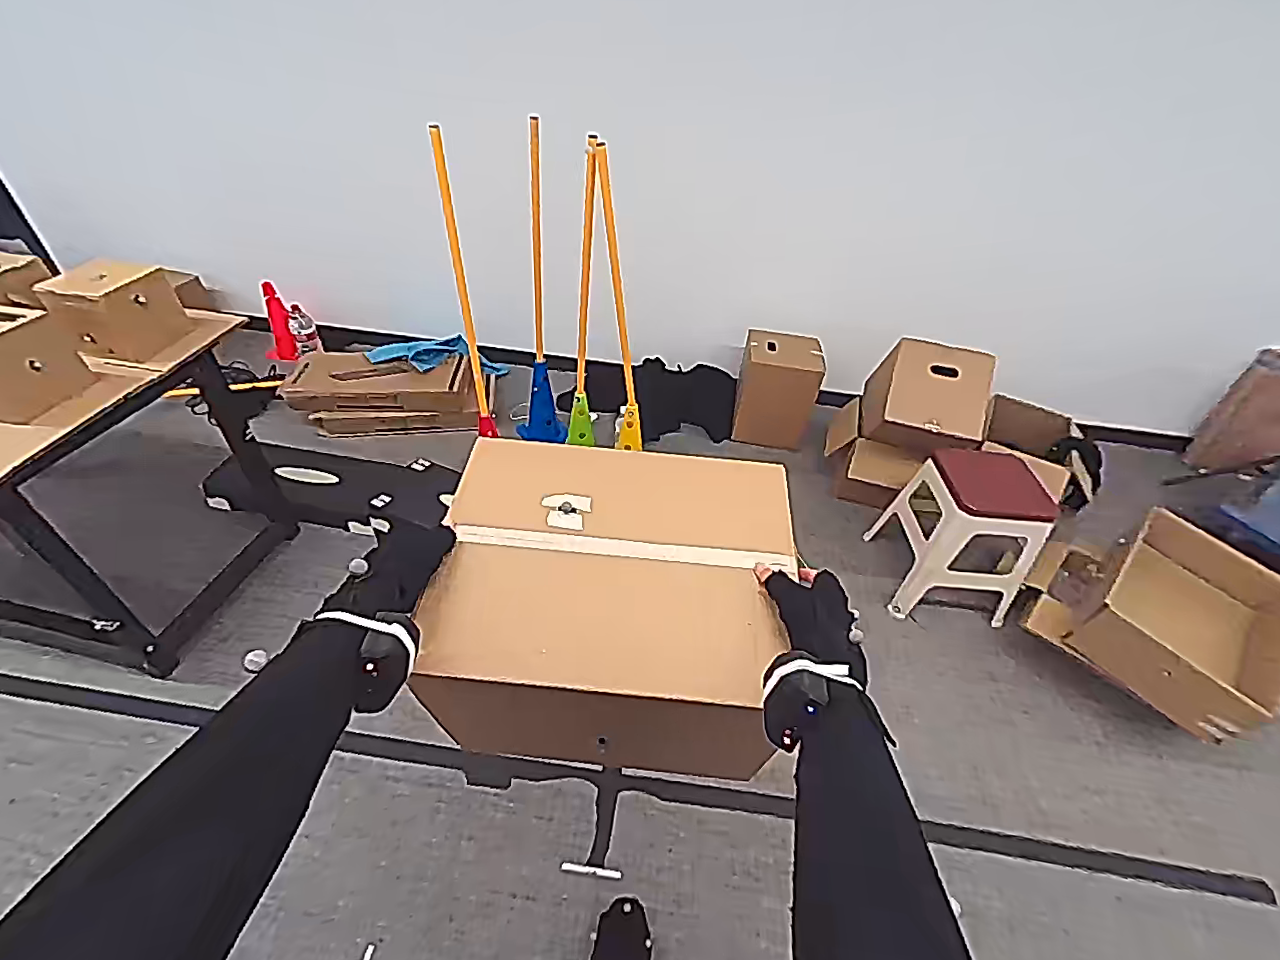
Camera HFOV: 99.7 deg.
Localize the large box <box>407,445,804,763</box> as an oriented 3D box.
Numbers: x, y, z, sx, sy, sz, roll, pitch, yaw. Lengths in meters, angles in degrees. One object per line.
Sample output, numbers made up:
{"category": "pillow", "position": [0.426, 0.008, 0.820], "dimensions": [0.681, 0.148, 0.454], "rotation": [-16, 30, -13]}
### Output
{"category": "large box", "position": [-0.028, 0.178, 0.742], "dimensions": [0.408, 0.320, 0.320], "rotation": [5, 50, 1]}
